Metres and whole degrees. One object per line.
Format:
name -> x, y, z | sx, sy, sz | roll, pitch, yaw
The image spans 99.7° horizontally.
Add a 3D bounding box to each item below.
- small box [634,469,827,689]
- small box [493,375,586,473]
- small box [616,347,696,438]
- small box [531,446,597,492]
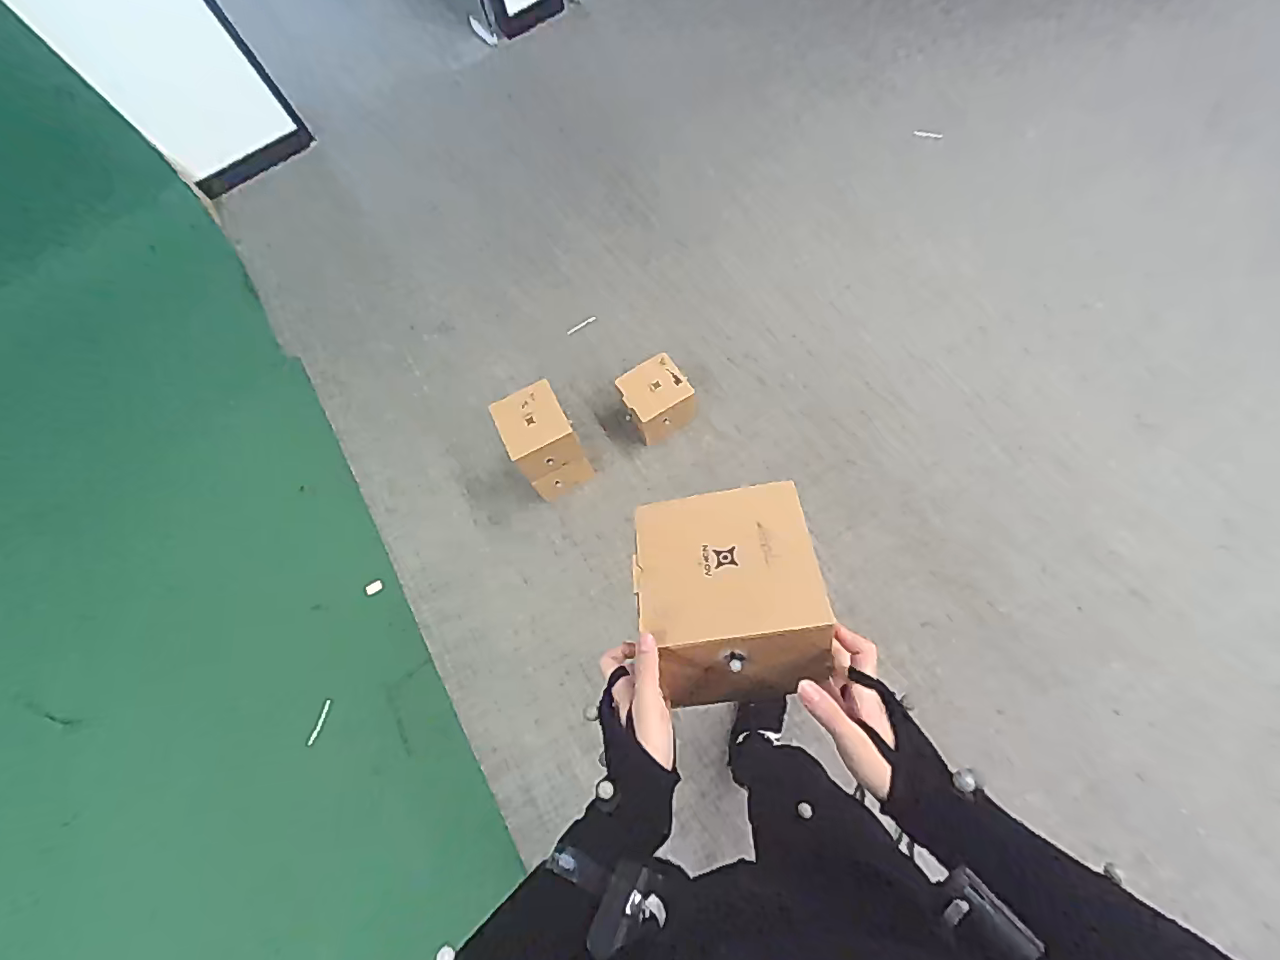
small box -> 0.098, 0.115, 0.594 | 0.179, 0.176, 0.168 | -10, 49, 9
small box -> -0.258, -0.137, 1.426 | 0.168, 0.176, 0.179 | -27, 69, -3
small box -> 0.054, -0.251, 1.601 | 0.179, 0.176, 0.168 | -32, 71, -3
small box -> -0.243, -0.081, 1.581 | 0.168, 0.176, 0.179 | -28, 70, -3
